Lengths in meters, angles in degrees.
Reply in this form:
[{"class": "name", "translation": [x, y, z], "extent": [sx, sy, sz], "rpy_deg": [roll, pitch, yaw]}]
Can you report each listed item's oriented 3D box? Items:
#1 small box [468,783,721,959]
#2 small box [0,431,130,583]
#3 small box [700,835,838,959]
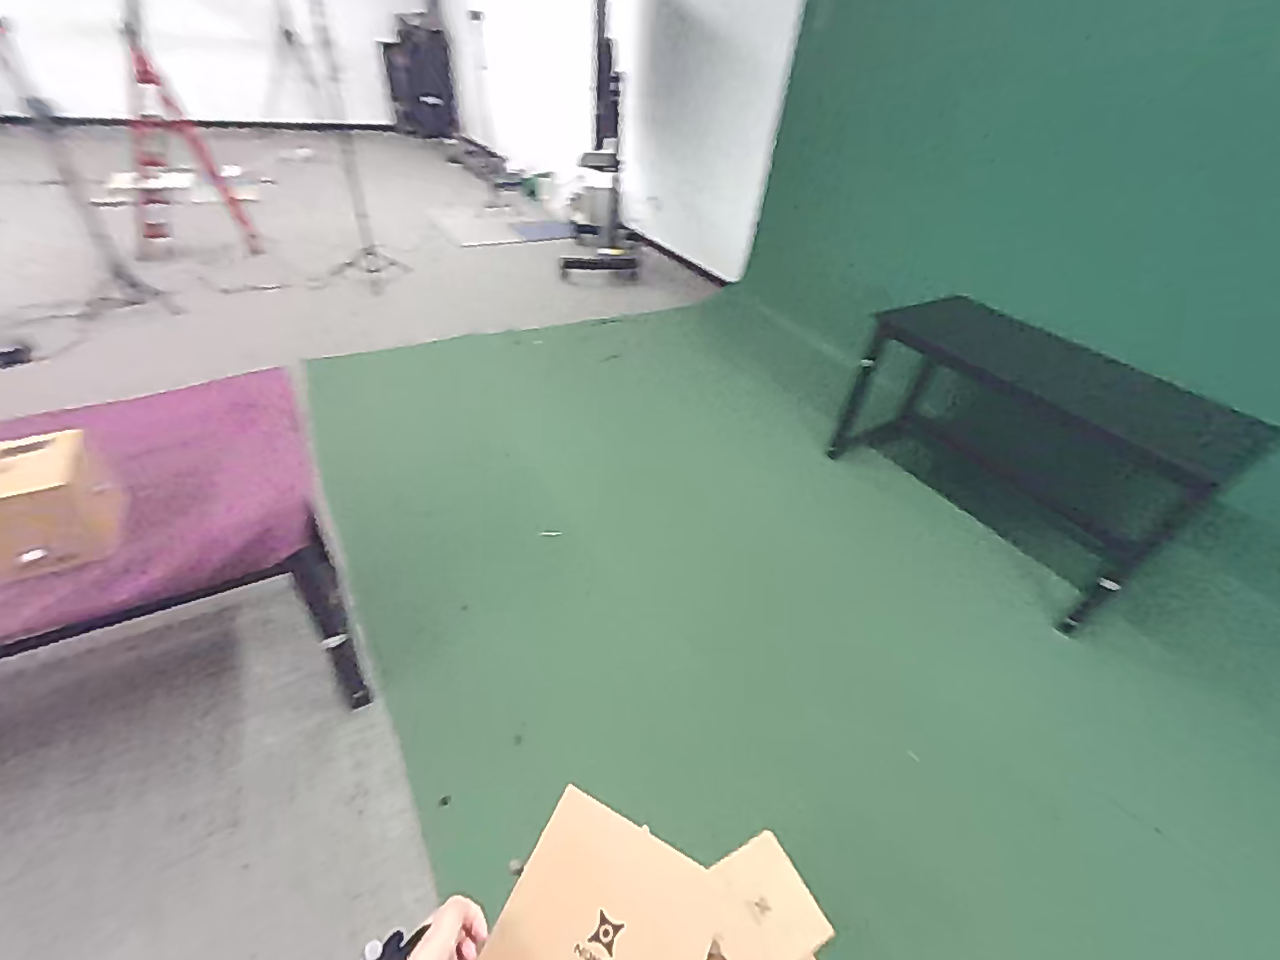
[{"class": "small box", "translation": [-0.048, 0.415, 0.492], "extent": [0.168, 0.176, 0.179], "rpy_deg": [25, 53, 10]}, {"class": "small box", "translation": [-1.025, 0.043, 0.930], "extent": [0.168, 0.176, 0.179], "rpy_deg": [-17, 45, -26]}, {"class": "small box", "translation": [0.188, 0.743, 0.903], "extent": [0.179, 0.176, 0.168], "rpy_deg": [-16, 45, -25]}]
